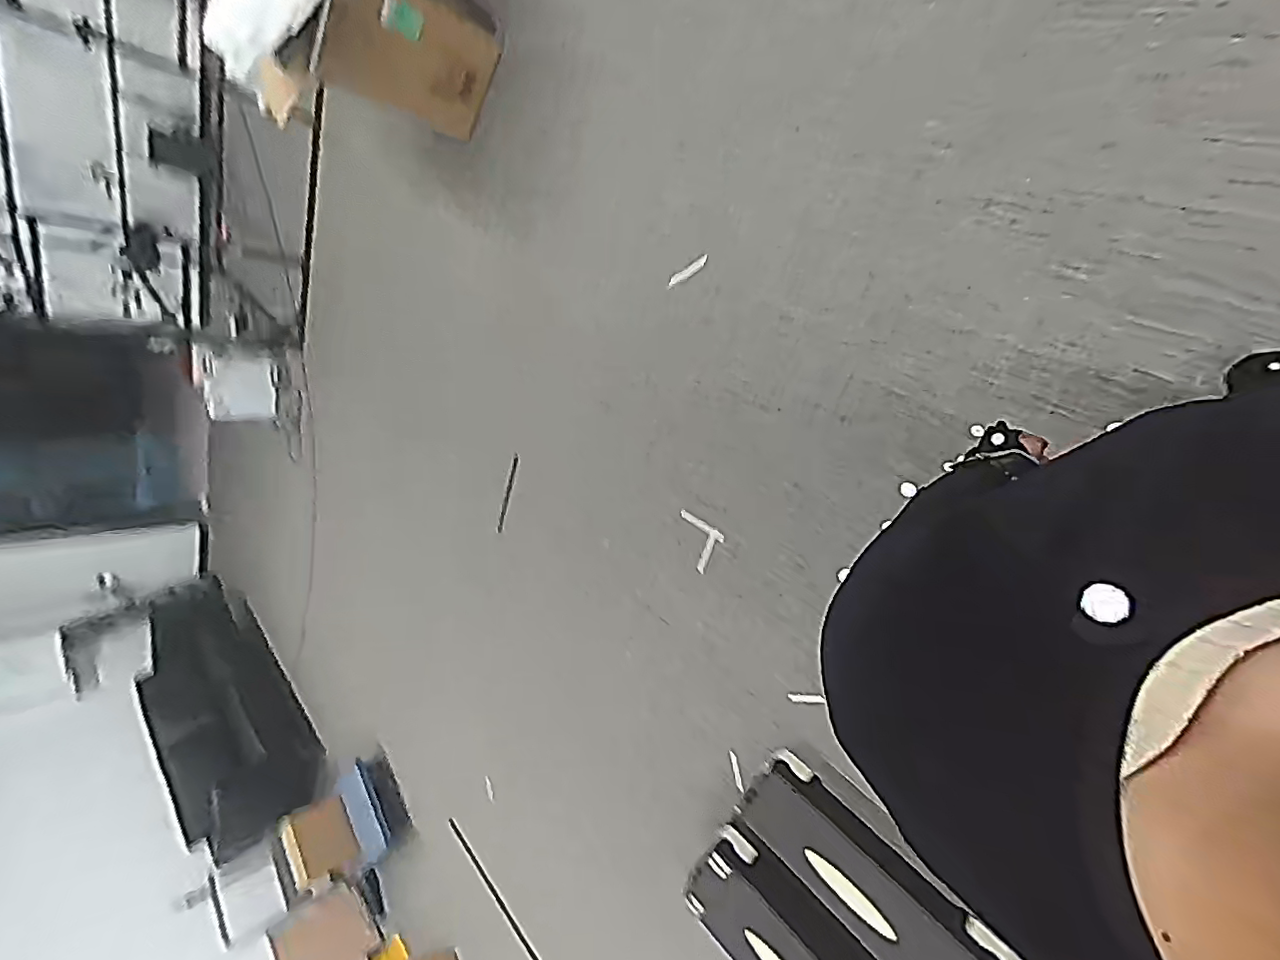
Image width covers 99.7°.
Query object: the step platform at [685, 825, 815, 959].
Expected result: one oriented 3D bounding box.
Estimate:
[{"bbox_3d":[0.441,1.363,1.493,0.684,0.204,0.286,42,119,32],"label":"step platform"}]
